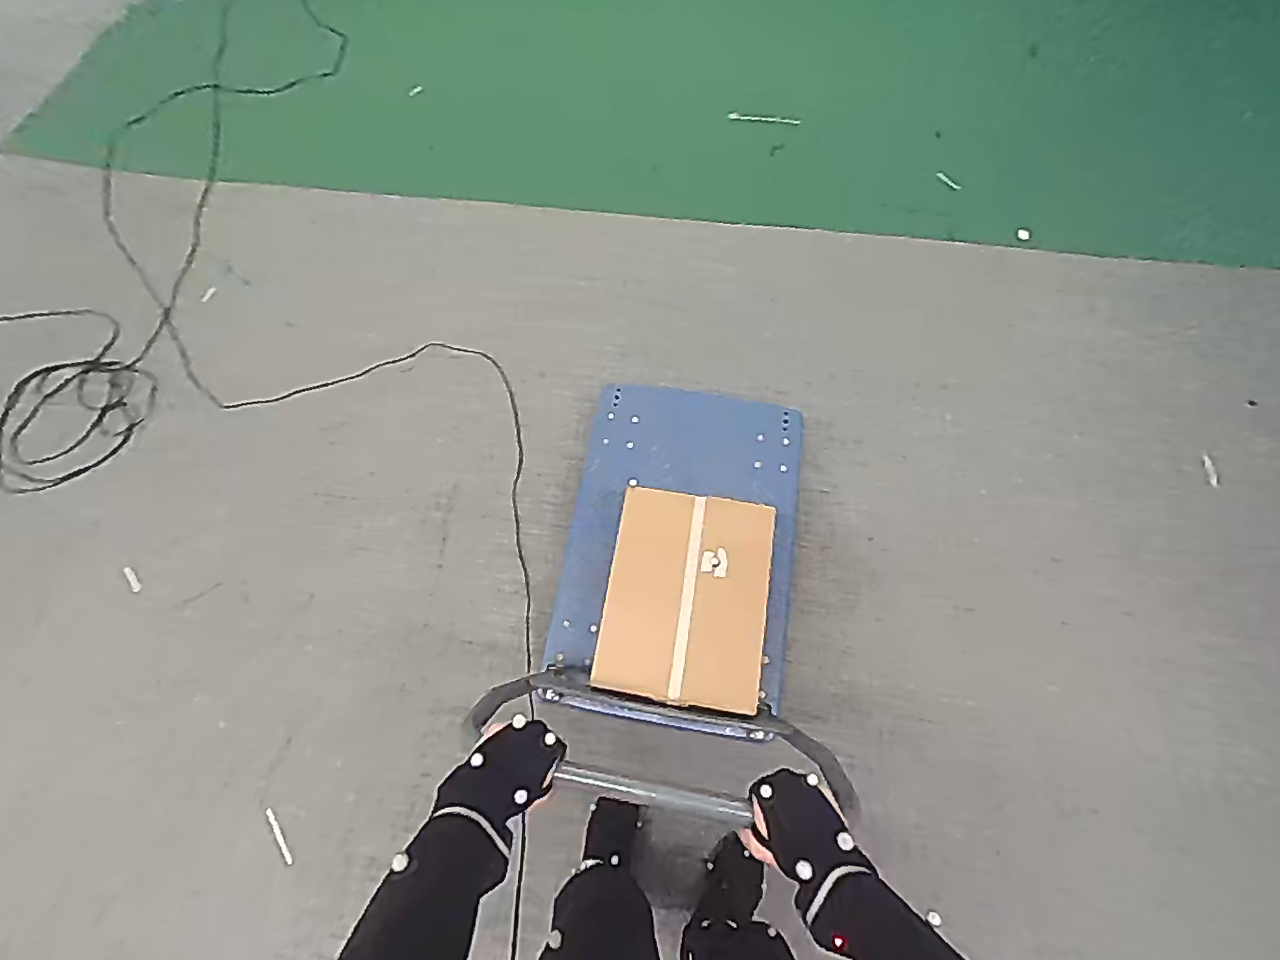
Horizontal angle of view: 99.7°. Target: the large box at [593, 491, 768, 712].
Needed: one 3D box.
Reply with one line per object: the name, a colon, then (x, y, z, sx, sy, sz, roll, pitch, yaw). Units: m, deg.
large box: (0.094, 0.280, 1.207, 0.320, 0.320, 0.408, 8, 69, 4)
